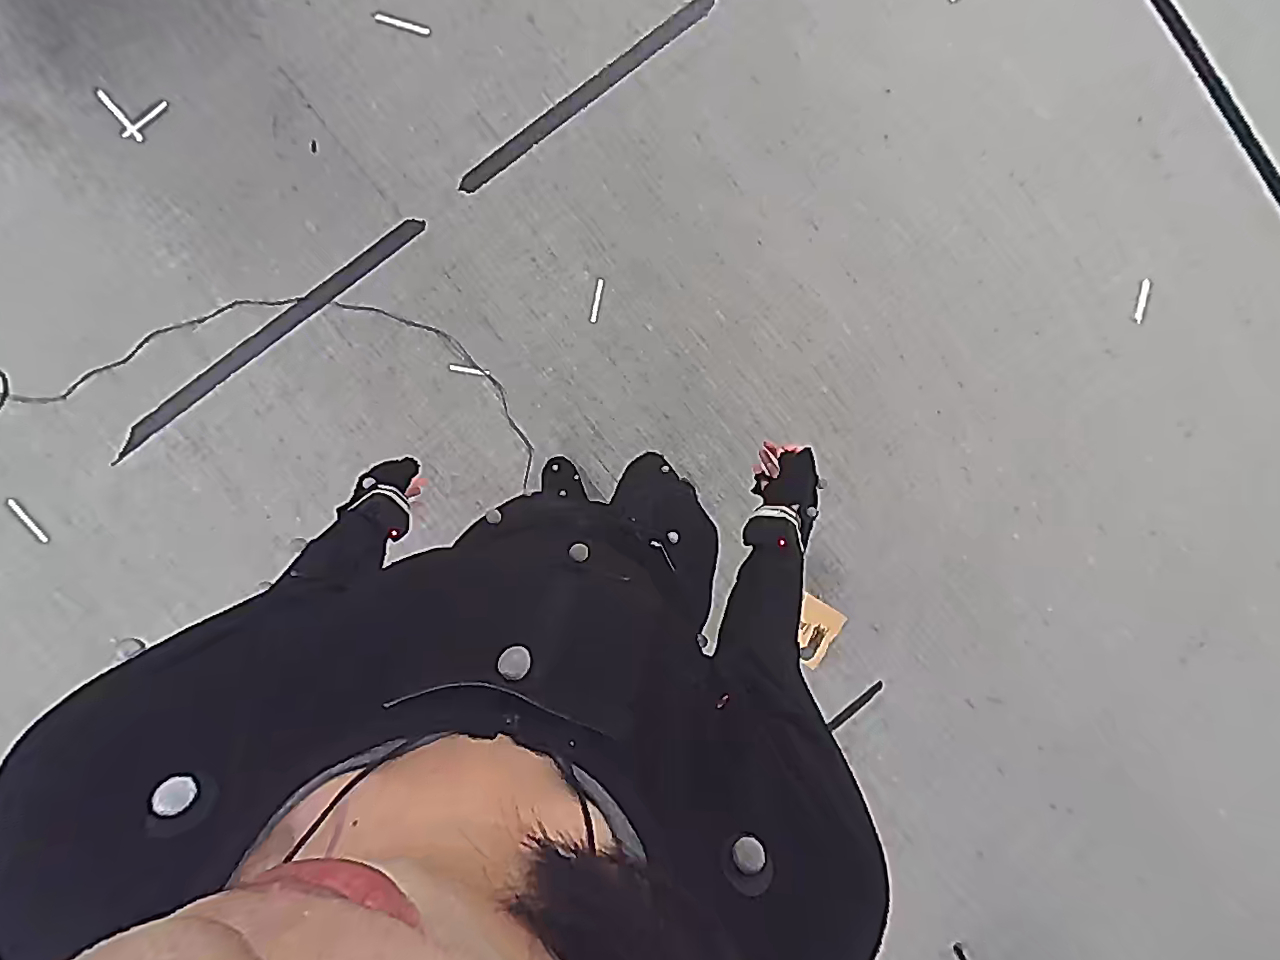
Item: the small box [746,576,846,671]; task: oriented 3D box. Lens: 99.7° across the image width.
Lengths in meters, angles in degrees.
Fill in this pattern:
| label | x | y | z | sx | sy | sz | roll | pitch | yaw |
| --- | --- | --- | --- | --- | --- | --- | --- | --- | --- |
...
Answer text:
| label | x | y | z | sx | sy | sz | roll | pitch | yaw |
| --- | --- | --- | --- | --- | --- | --- | --- | --- | --- |
| small box | 0.418 | 0.382 | 1.476 | 0.179 | 0.176 | 0.168 | 32 | 90 | -4 |
